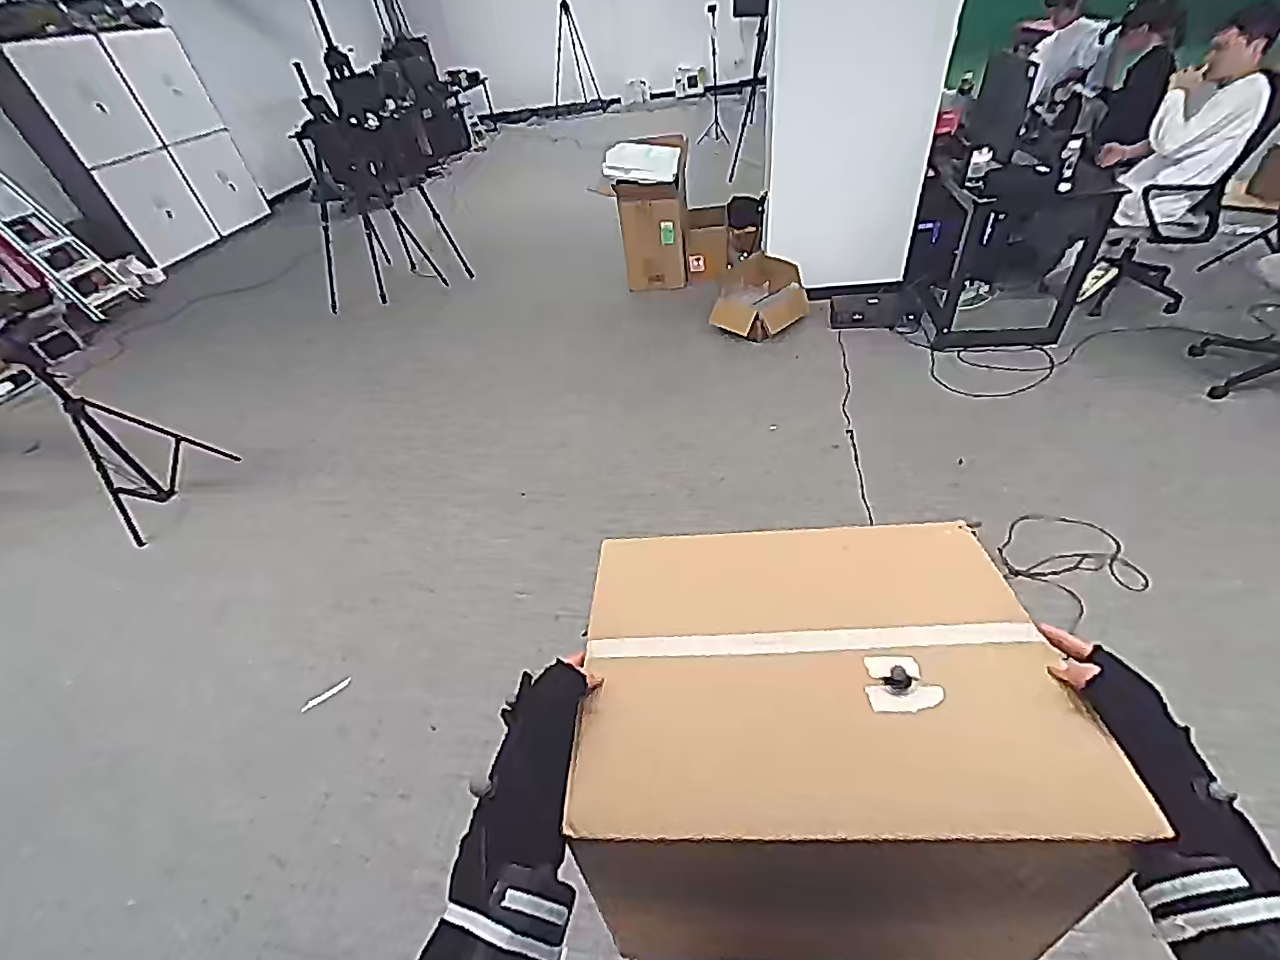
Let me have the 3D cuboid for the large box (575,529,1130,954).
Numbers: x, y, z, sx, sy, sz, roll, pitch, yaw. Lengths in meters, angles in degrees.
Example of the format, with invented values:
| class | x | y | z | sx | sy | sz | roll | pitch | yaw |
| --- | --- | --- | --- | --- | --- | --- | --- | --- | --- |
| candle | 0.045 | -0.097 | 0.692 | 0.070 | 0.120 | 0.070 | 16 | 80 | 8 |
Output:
| class | x | y | z | sx | sy | sz | roll | pitch | yaw |
| --- | --- | --- | --- | --- | --- | --- | --- | --- | --- |
| large box | 0.165 | 0.278 | 0.595 | 0.408 | 0.320 | 0.320 | -4 | 36 | 6 |
